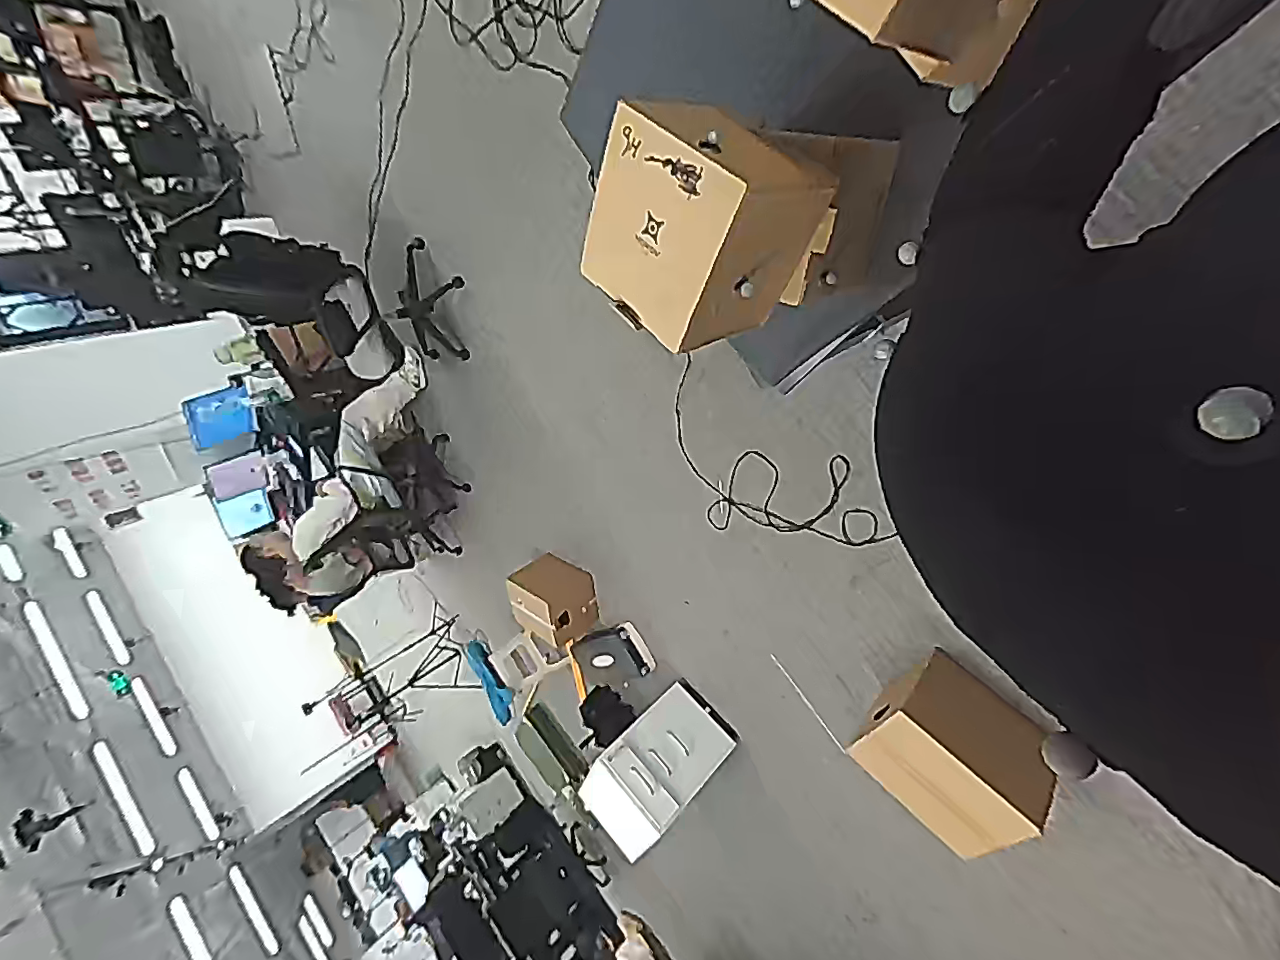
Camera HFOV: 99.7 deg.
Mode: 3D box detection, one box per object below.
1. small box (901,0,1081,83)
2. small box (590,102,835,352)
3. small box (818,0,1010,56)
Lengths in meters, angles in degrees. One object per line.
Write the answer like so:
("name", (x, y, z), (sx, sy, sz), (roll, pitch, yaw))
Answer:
("small box", (0.299, -0.482, 0.467), (0.179, 0.176, 0.168), (57, 142, 7))
("small box", (0.074, -0.271, 0.581), (0.168, 0.176, 0.179), (45, 140, 20))
("small box", (0.188, -0.423, 0.364), (0.179, 0.176, 0.168), (50, 141, 15))
